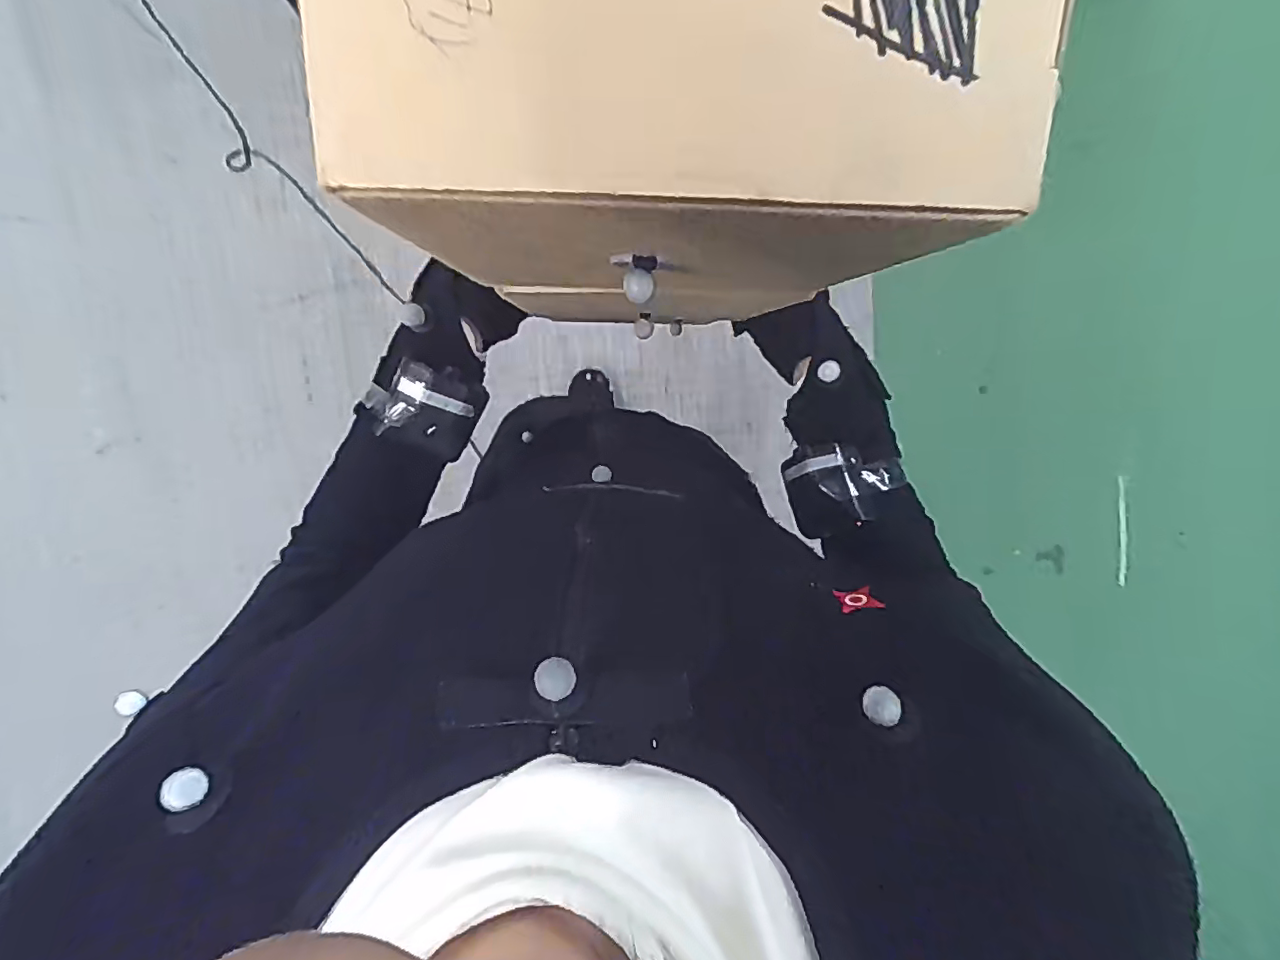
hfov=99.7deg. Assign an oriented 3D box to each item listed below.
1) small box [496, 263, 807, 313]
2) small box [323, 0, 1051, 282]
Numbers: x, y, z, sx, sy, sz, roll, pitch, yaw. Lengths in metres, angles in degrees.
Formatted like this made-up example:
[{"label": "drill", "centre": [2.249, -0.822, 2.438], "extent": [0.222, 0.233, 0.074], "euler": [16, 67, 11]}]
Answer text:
[{"label": "small box", "centre": [0.002, -0.205, 0.354], "extent": [0.179, 0.176, 0.168], "euler": [0, 101, -4]}, {"label": "small box", "centre": [0.007, -0.169, 0.195], "extent": [0.179, 0.176, 0.168], "euler": [-3, 103, -4]}]
